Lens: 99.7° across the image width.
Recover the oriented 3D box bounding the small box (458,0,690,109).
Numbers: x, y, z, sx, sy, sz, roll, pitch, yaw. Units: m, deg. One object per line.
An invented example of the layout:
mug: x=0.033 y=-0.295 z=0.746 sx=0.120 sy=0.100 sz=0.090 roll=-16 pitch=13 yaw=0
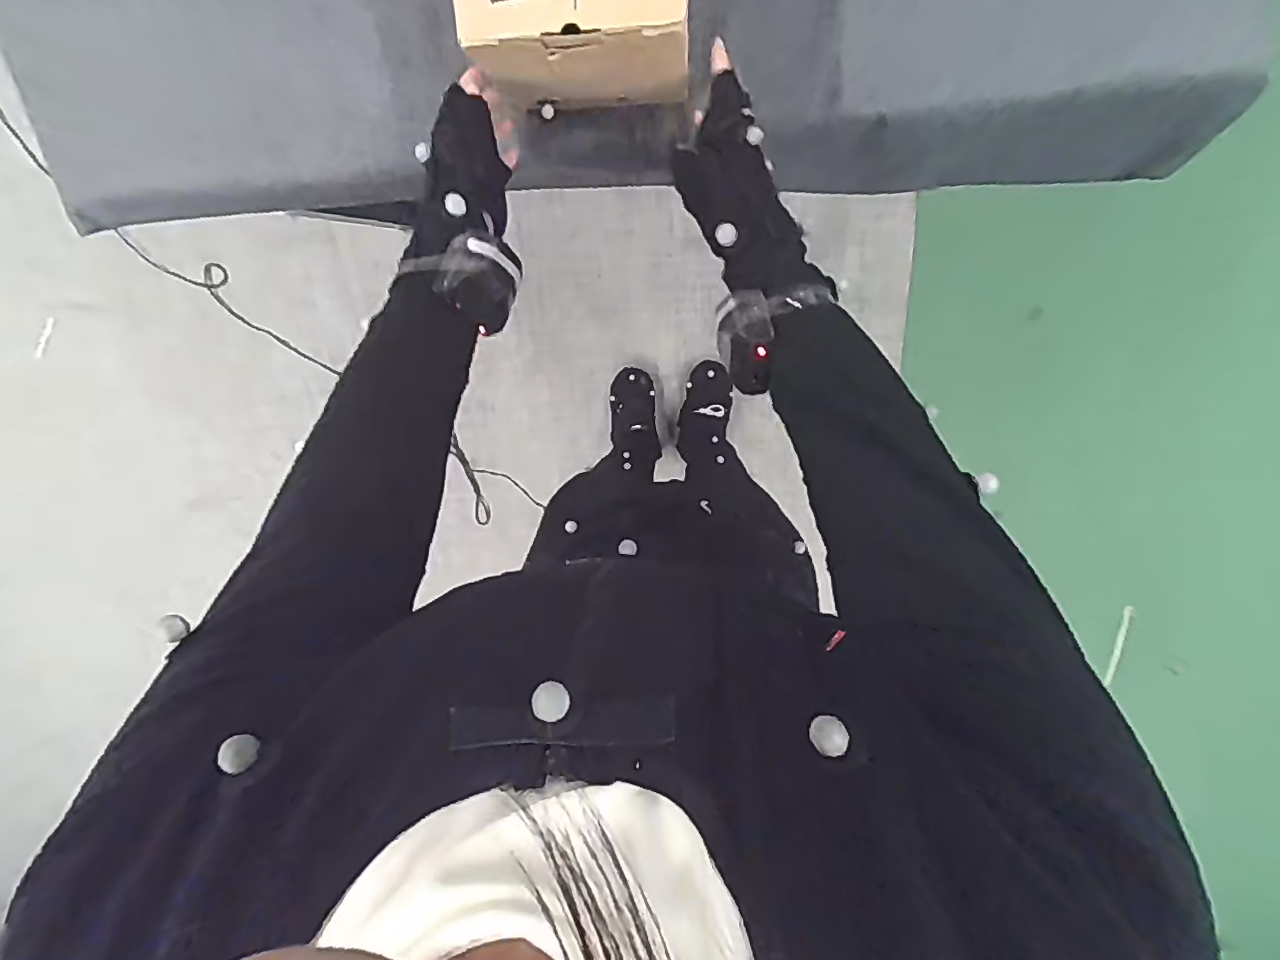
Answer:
small box: x=-0.042 y=-0.422 z=0.438 sx=0.168 sy=0.176 sz=0.179 roll=1 pitch=109 yaw=4
